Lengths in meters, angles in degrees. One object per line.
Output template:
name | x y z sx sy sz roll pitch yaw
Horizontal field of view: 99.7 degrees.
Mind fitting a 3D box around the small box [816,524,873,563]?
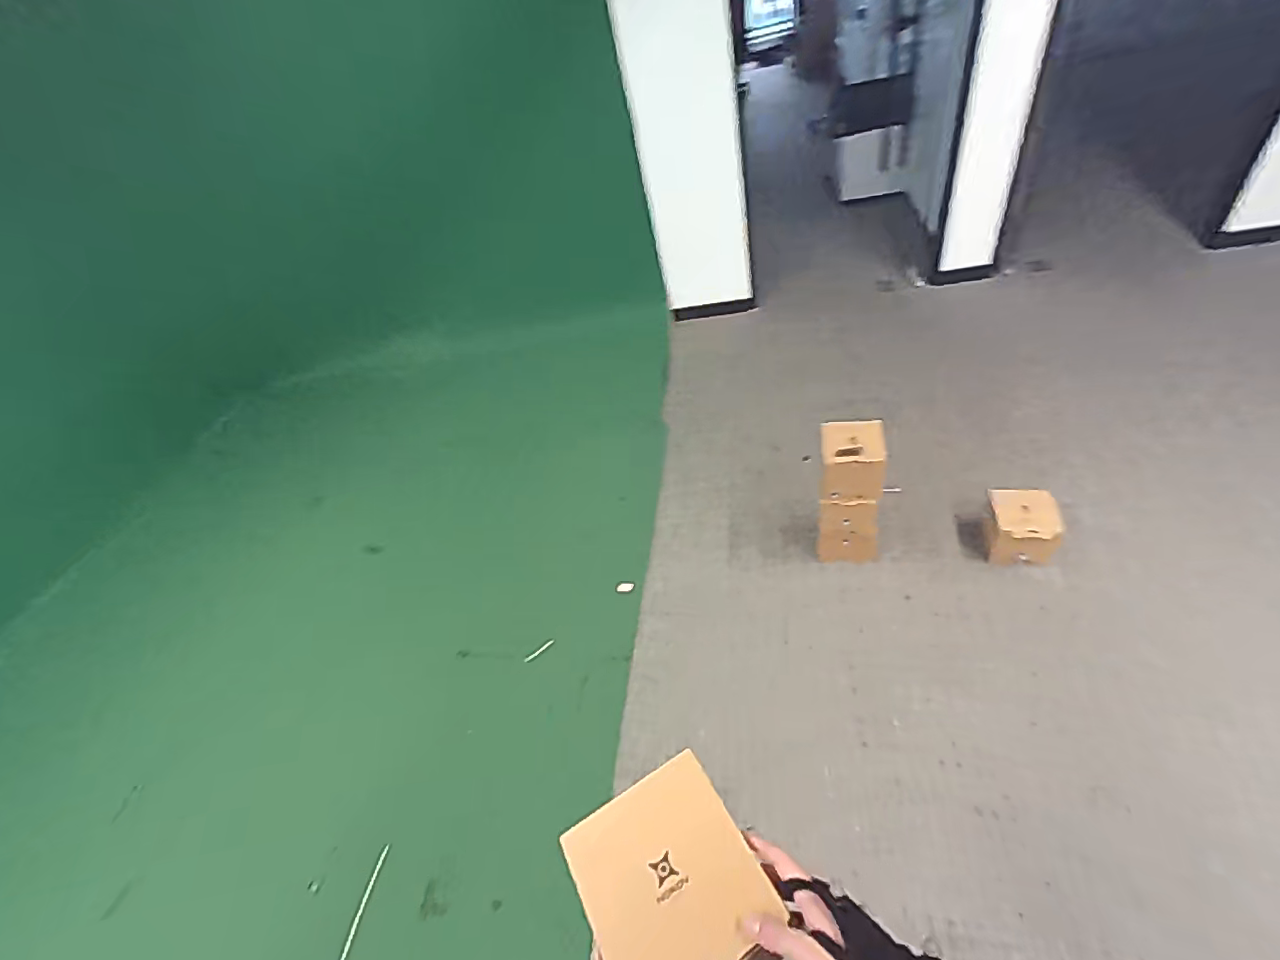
small box | 0.696 0.170 1.854 0.179 0.176 0.168 1 48 18

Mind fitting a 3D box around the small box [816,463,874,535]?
small box | 0.655 0.062 1.738 0.168 0.176 0.179 0 49 18

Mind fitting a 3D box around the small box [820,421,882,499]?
small box | 0.630 -0.056 1.625 0.168 0.176 0.179 -1 47 17

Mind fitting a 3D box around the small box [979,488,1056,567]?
small box | 1.188 0.150 1.716 0.168 0.176 0.179 4 50 24
